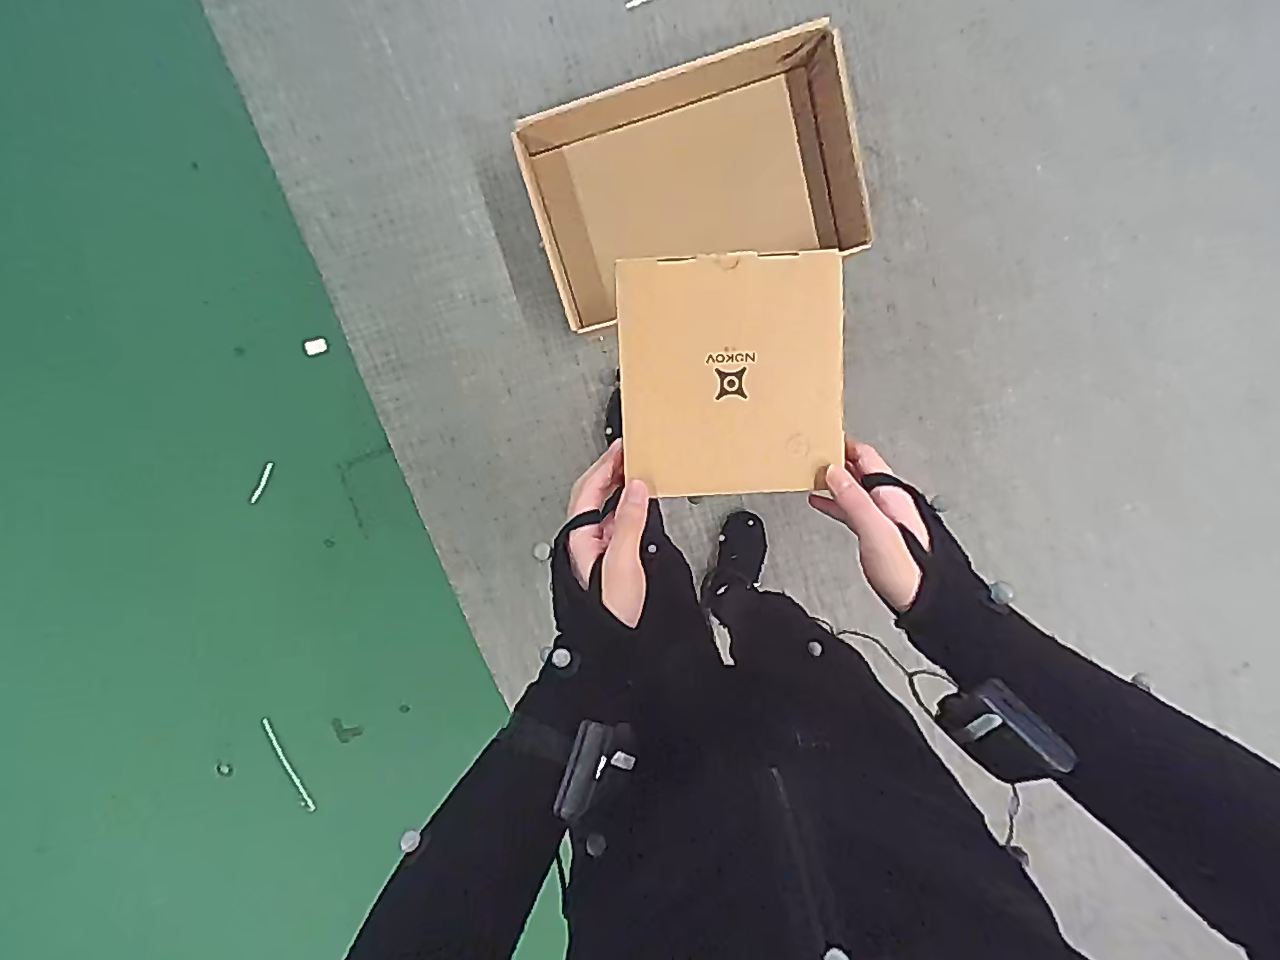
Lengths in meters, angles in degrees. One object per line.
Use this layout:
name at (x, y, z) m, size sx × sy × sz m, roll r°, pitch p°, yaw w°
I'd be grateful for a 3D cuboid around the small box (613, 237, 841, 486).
small box at (0.066, -0.091, 0.475) m, size 0.168 × 0.176 × 0.179 m, roll -3°, pitch 94°, yaw 1°
